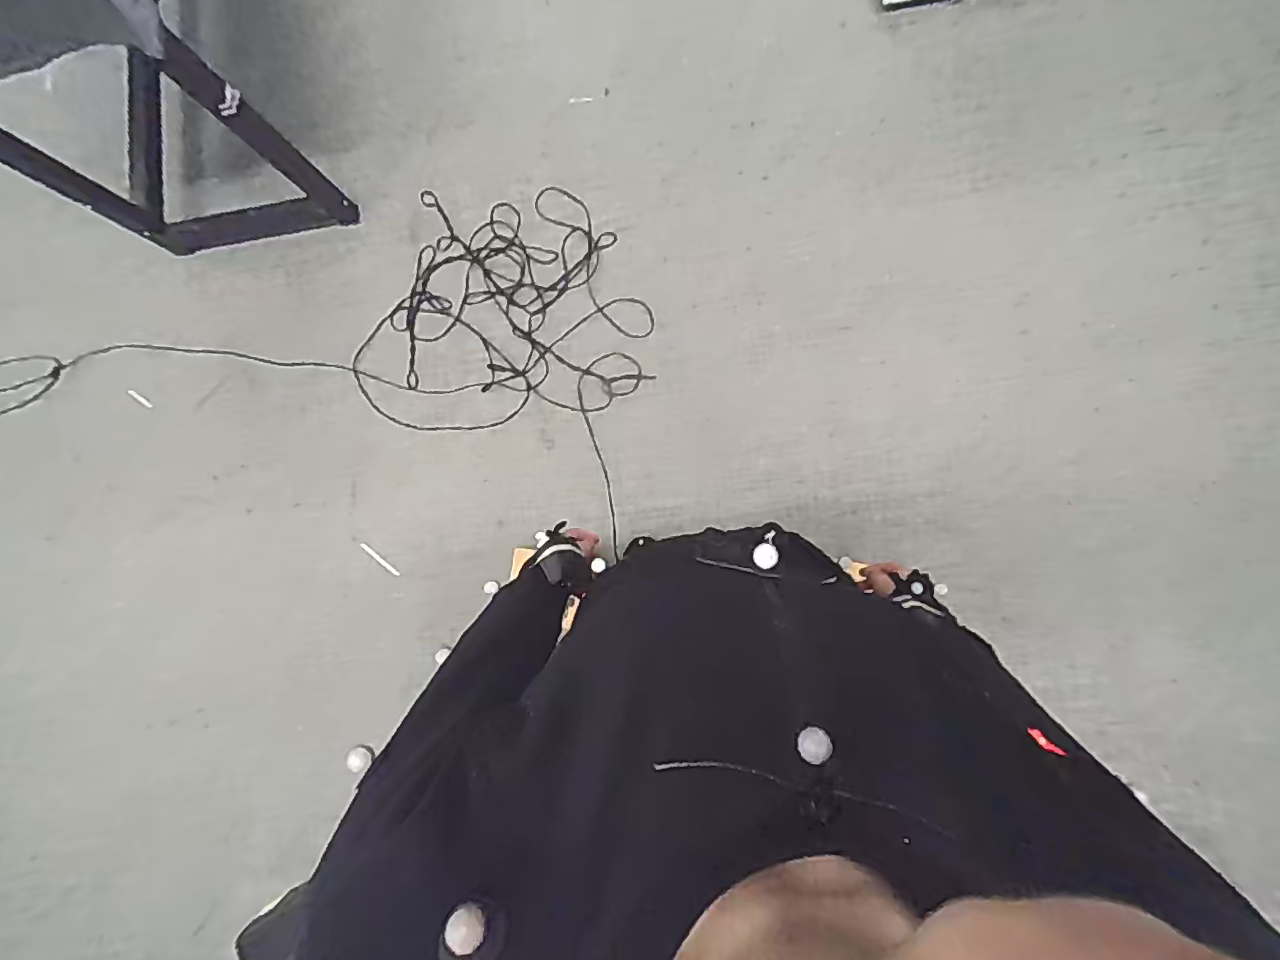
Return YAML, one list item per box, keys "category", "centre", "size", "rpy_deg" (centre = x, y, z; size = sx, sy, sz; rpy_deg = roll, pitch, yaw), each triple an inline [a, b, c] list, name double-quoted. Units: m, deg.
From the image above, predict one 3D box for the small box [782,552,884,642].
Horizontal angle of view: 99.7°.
- category: "small box"
  centre: [0.440, 0.264, 1.256]
  size: [0.179, 0.176, 0.168]
  rpy_deg: [8, 87, 7]
